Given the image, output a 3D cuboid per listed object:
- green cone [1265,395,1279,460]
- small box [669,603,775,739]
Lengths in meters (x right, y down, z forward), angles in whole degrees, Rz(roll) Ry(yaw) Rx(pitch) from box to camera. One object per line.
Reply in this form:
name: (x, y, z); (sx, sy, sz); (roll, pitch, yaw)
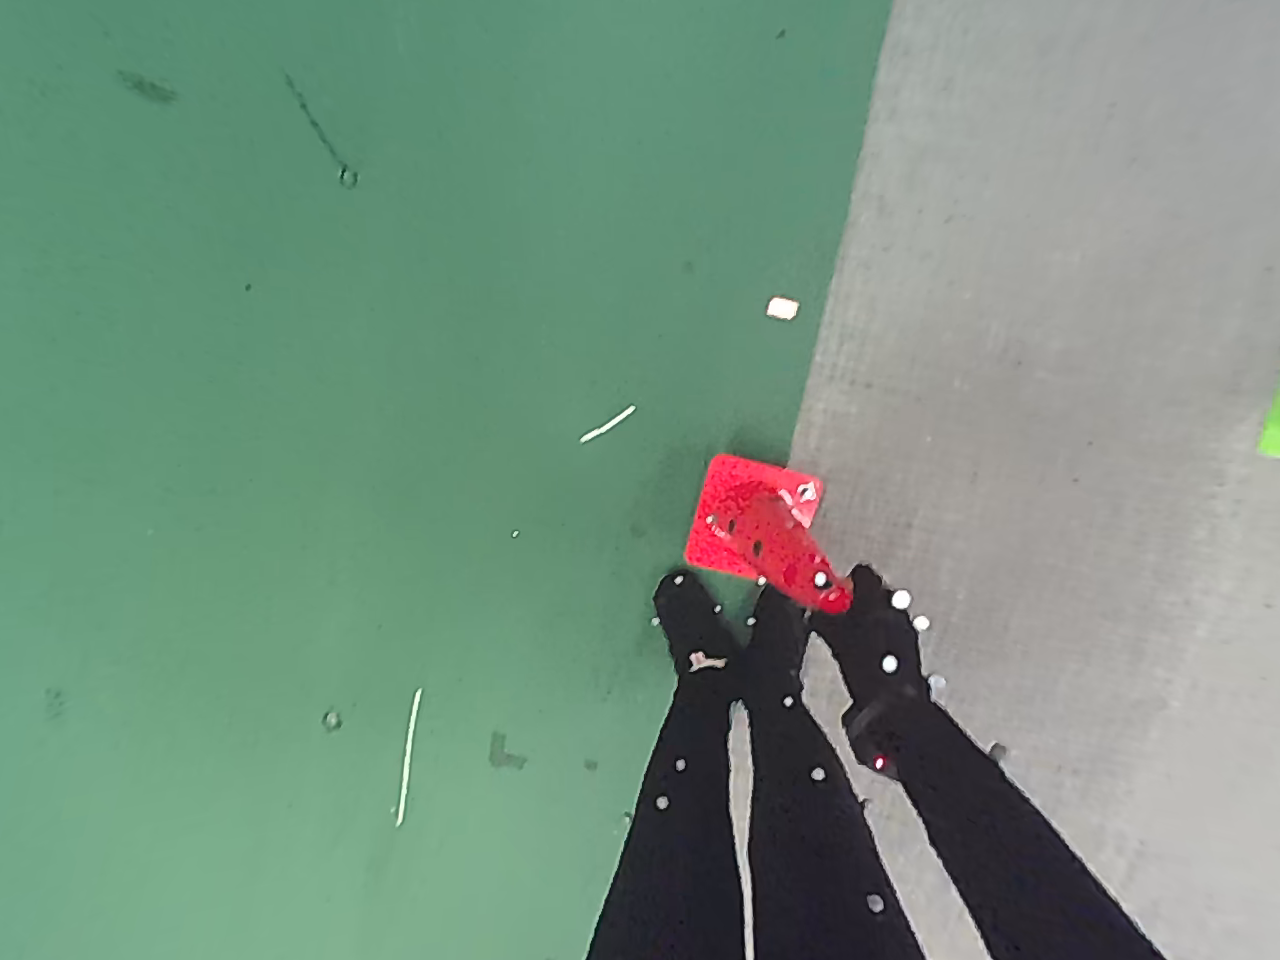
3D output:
green cone: (1.136, -0.095, 0.716); (0.202, 0.368, 0.200); (9, 99, 3)
small box: (0.146, 0.347, 1.006); (0.168, 0.176, 0.179); (-4, 100, -4)
